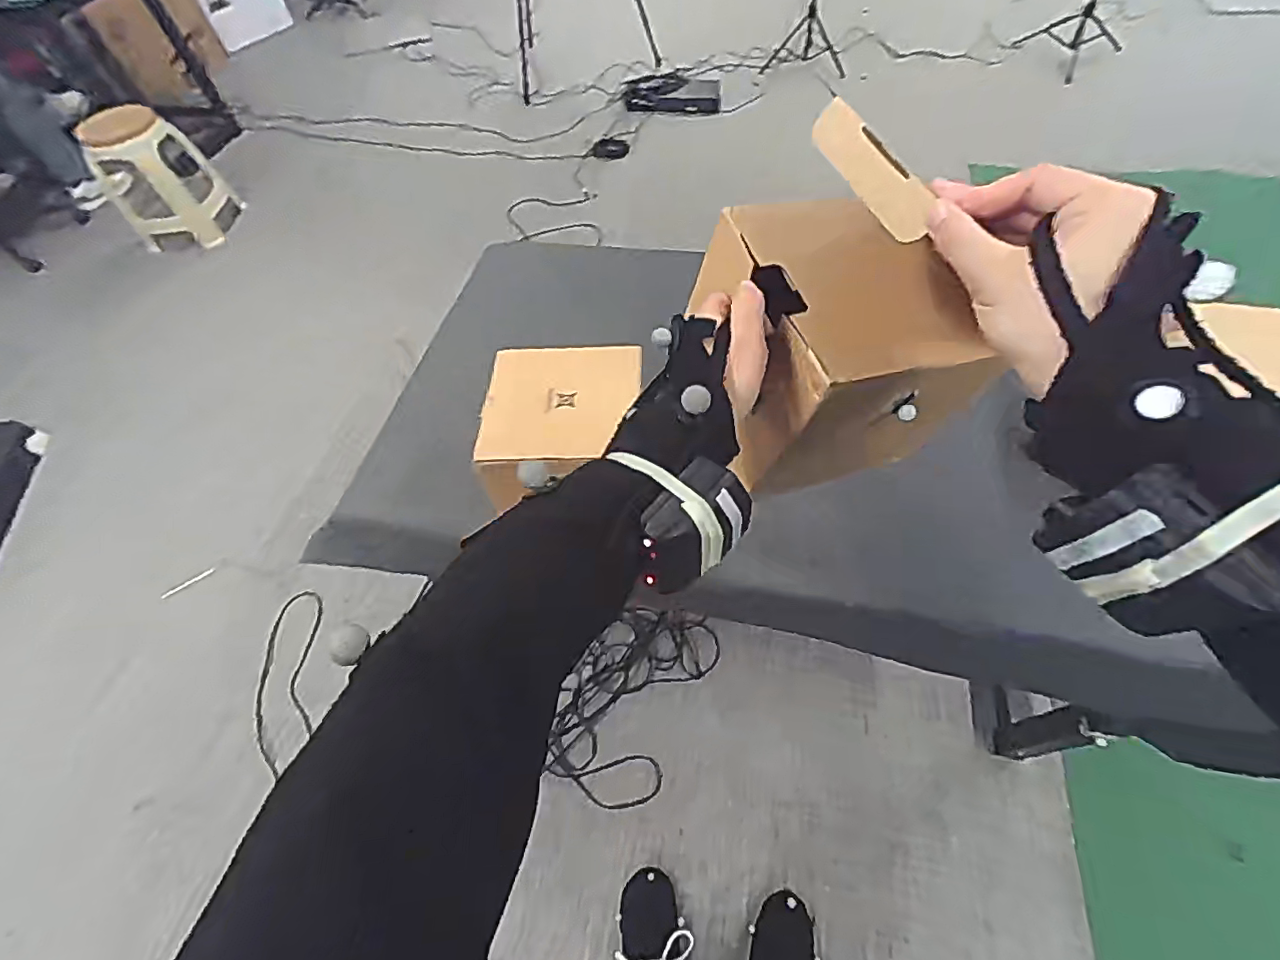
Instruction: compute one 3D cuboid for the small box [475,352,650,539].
[{"bbox_3d":[-0.078,-0.037,0.665,0.179,0.176,0.168,-1,56,4],"label":"small box"}]
